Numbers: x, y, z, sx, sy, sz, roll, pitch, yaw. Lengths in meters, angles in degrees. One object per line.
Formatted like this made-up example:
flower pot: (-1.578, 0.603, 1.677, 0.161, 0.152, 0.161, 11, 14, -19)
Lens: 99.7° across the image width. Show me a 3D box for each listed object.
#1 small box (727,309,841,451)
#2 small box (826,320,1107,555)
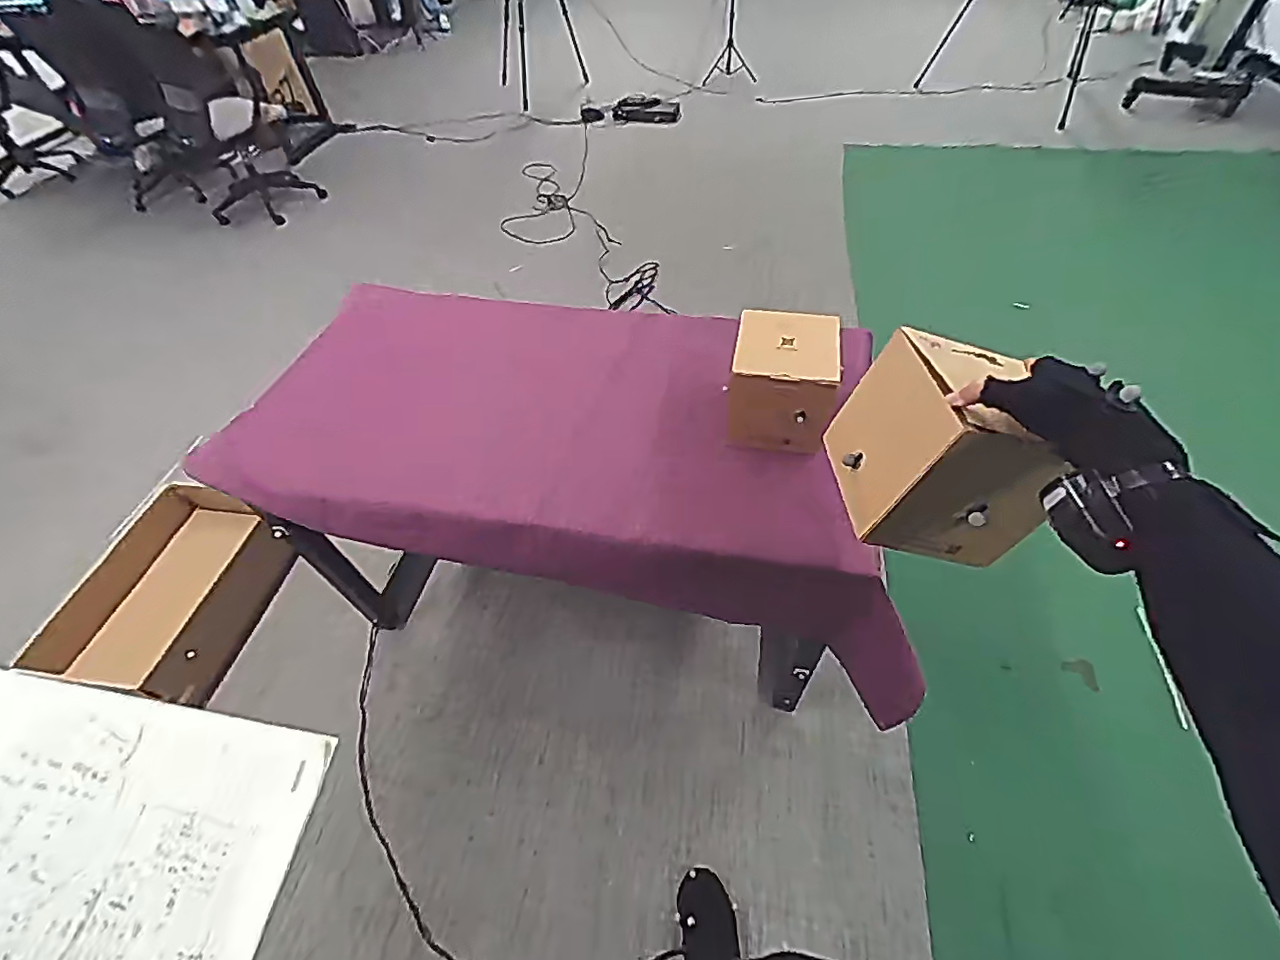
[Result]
small box: (0.247, -0.171, 0.942, 0.168, 0.176, 0.179, 9, 52, 10)
small box: (0.332, -0.040, 0.595, 0.168, 0.176, 0.179, 13, 45, -11)
